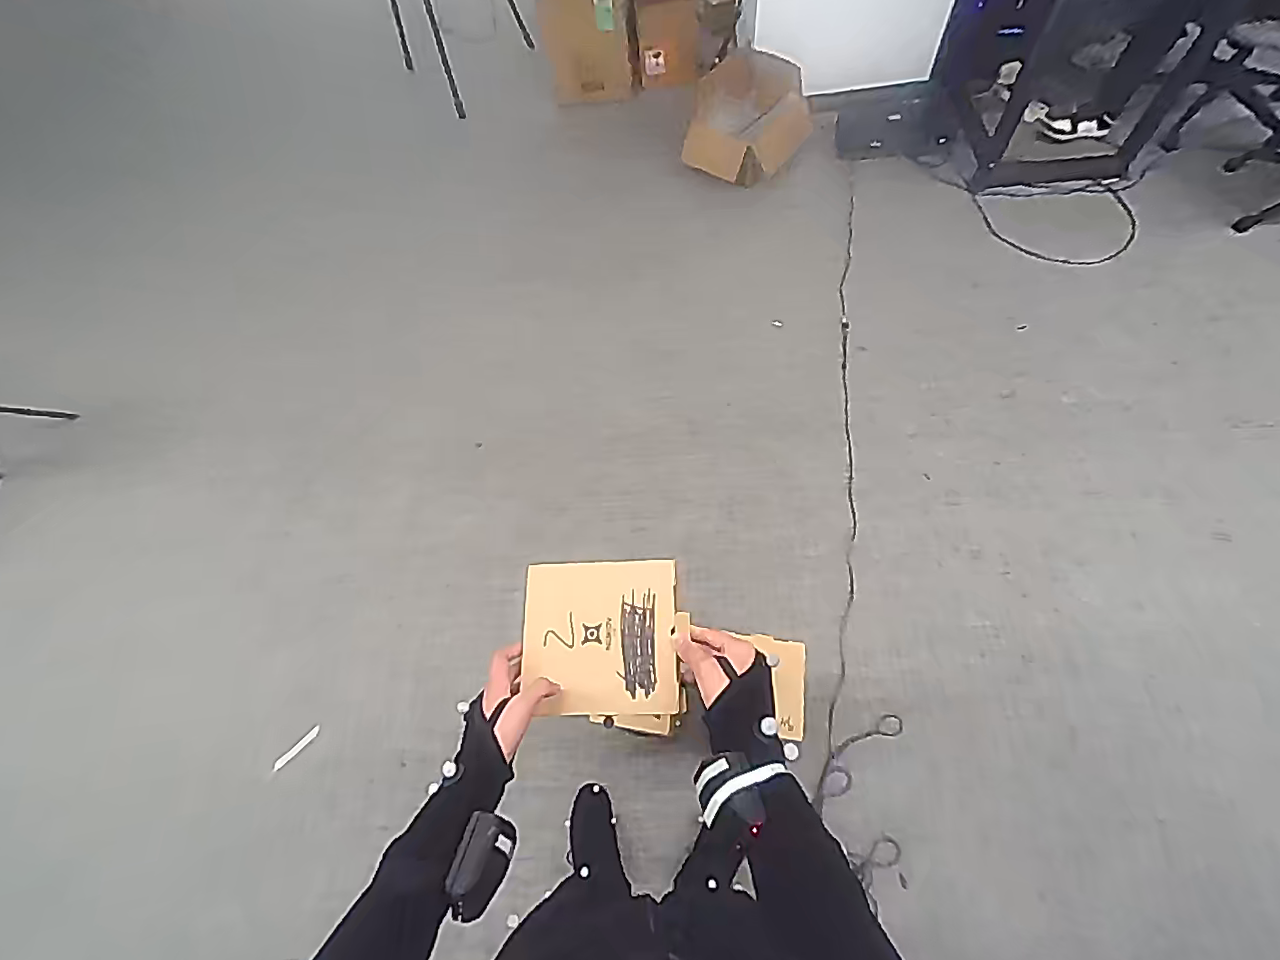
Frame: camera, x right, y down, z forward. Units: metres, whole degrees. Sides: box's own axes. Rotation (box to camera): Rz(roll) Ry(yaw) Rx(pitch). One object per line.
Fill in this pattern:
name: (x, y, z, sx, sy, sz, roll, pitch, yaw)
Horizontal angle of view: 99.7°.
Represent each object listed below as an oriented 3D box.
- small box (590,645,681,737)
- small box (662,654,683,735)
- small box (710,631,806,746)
small box: (-0.002, 0.490, 1.247, 0.179, 0.176, 0.168, 6, 63, 10)
small box: (0.022, 0.551, 1.397, 0.168, 0.176, 0.179, 2, 63, 8)
small box: (0.230, 0.418, 1.076, 0.168, 0.176, 0.179, 6, 63, 10)
